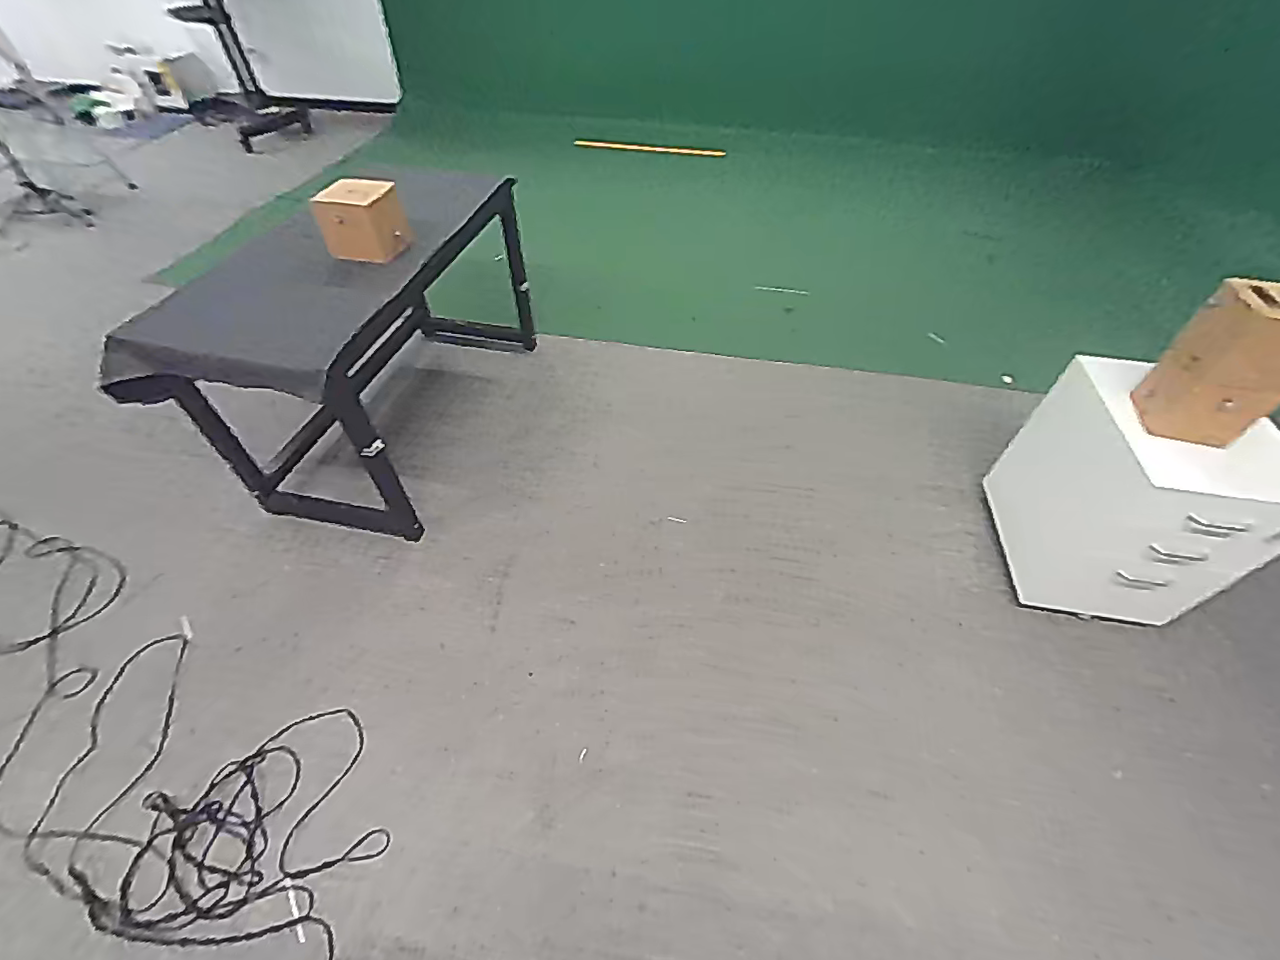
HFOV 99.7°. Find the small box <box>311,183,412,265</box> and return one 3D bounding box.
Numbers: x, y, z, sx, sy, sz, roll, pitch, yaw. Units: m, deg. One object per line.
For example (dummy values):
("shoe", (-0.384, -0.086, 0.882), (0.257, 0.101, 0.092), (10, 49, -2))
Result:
("small box", (-0.808, -0.750, 1.587), (0.179, 0.176, 0.168), (8, 49, 8))

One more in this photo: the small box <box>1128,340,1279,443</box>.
("small box", (1.355, -0.211, 1.310), (0.179, 0.176, 0.168), (13, 49, 10))
